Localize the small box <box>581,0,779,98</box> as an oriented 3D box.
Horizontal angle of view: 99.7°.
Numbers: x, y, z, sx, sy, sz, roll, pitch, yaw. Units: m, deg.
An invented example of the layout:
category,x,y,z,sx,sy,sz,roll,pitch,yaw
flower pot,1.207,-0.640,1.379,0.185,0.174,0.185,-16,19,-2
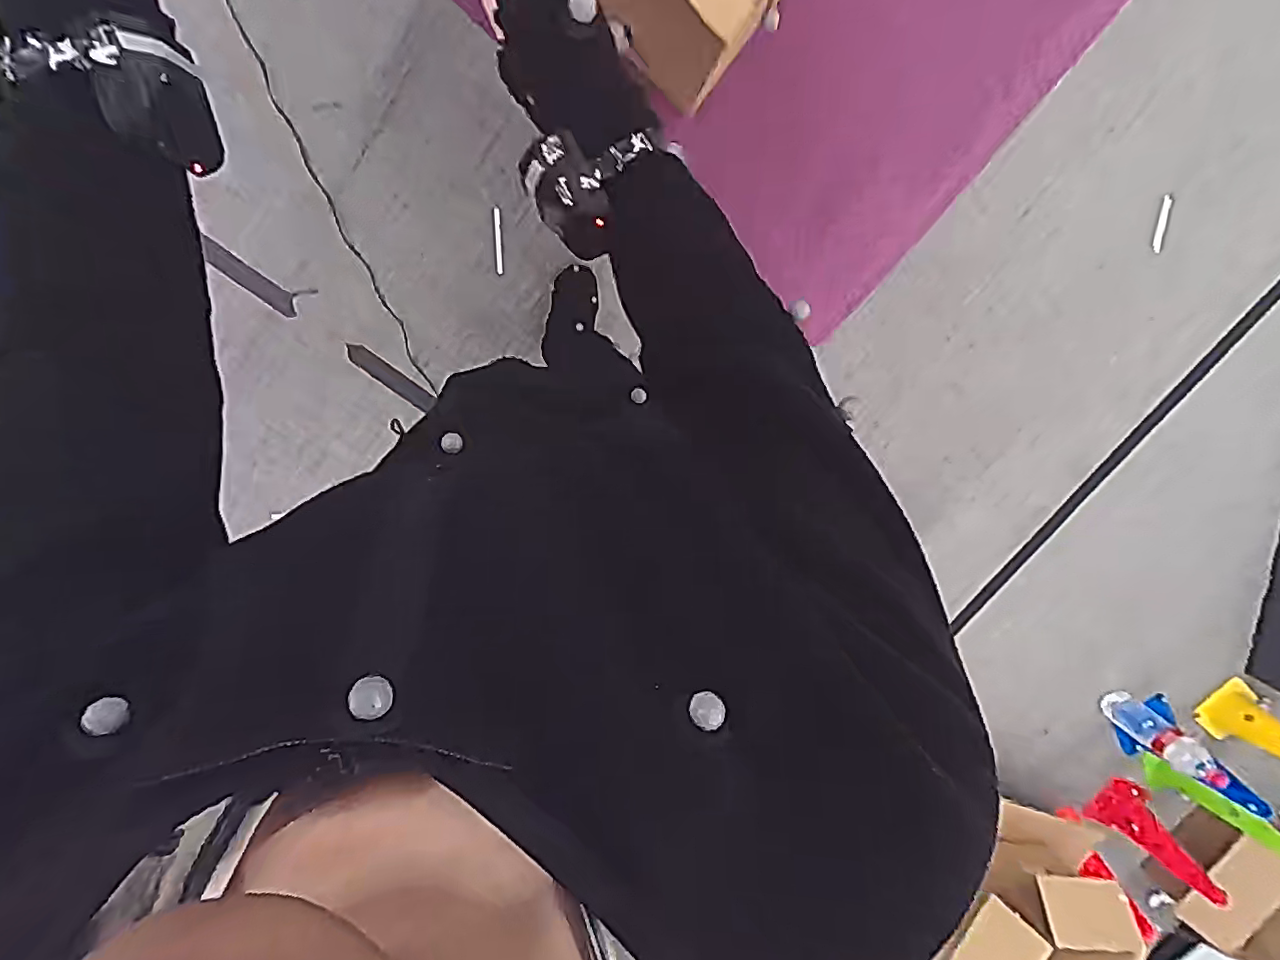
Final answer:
category,x,y,z,sx,sy,sz,roll,pitch,yaw
small box,0.047,-0.462,0.448,0.179,0.176,0.168,37,101,-16
